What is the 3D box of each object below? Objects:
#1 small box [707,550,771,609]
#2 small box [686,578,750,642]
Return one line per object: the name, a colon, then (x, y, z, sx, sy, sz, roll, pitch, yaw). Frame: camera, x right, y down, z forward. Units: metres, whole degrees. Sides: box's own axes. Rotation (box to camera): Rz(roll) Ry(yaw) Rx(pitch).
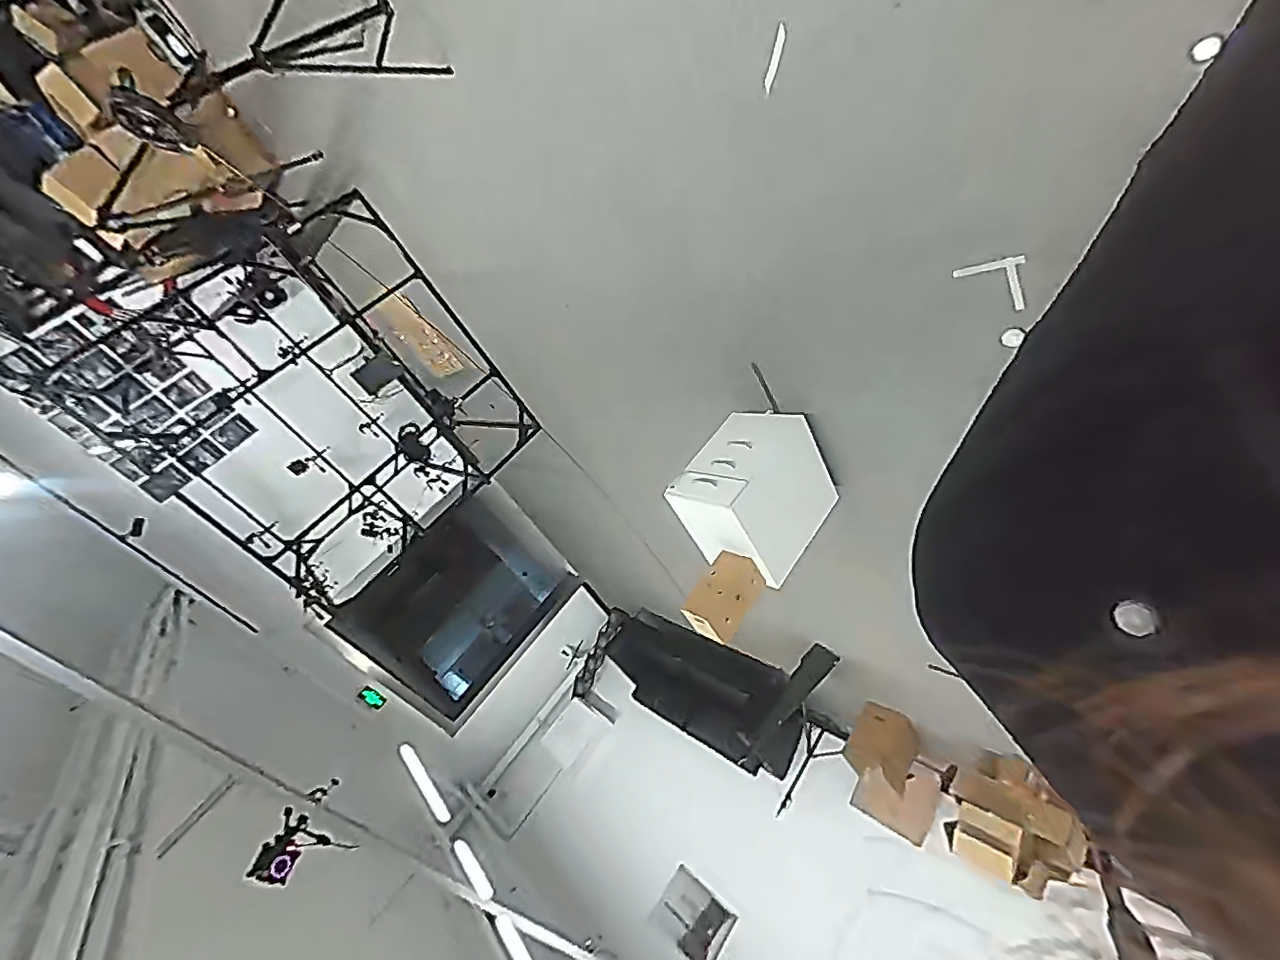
small box: (0.429, 0.424, 2.334, 0.179, 0.176, 0.168, 11, 143, 52)
small box: (0.331, 0.540, 2.269, 0.168, 0.176, 0.179, 13, 144, 52)
